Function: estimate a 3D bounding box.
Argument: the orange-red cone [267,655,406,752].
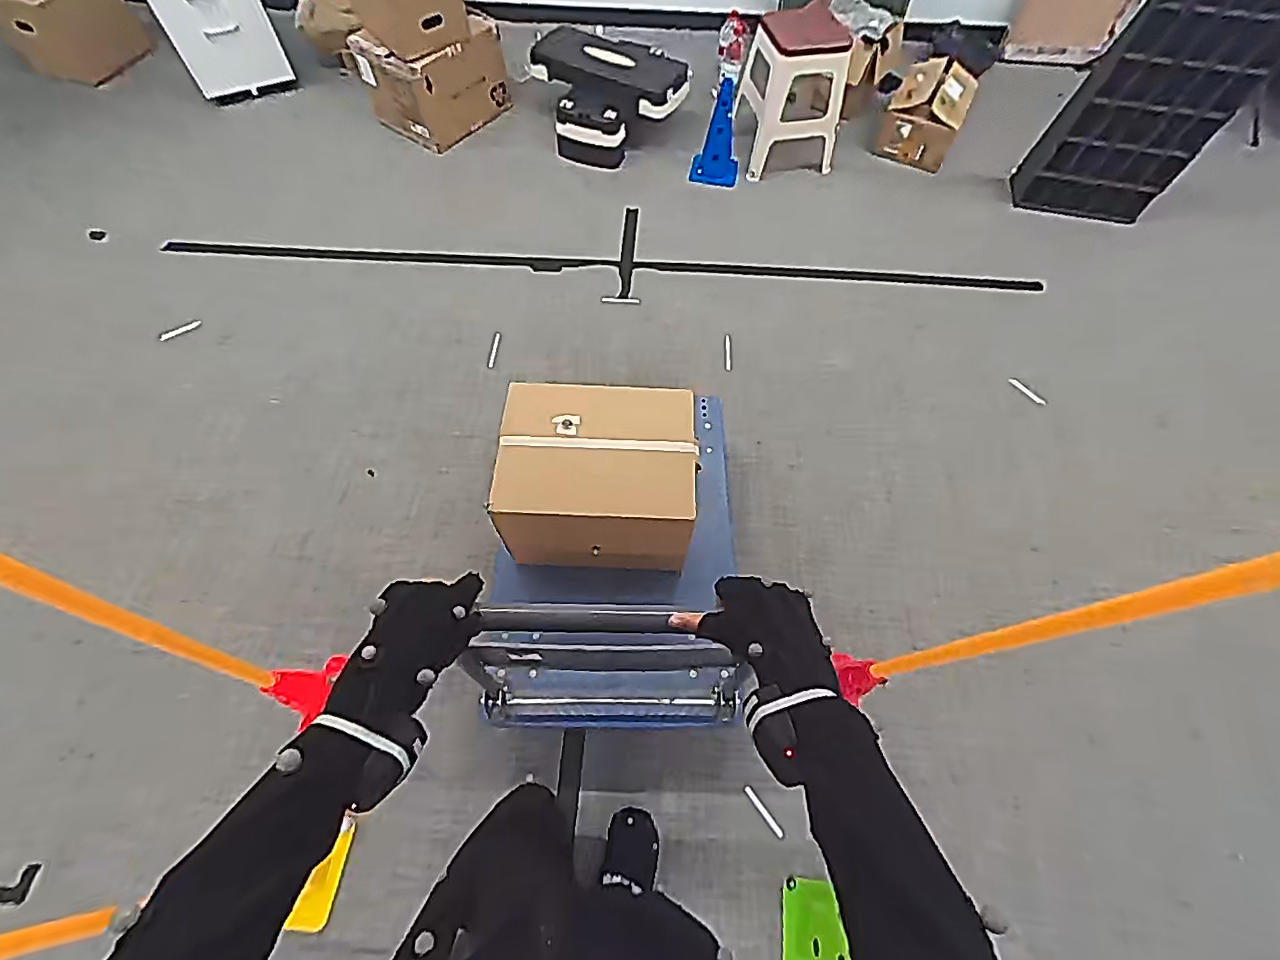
[{"bbox_3d":[-0.686,0.453,1.162,0.198,0.360,0.199,10,60,3],"label":"orange-red cone"}]

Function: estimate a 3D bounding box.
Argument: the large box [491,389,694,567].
[{"bbox_3d":[-0.089,0.007,1.253,0.408,0.320,0.320,2,62,0],"label":"large box"}]

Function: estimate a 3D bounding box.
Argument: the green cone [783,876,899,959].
[{"bbox_3d":[0.401,0.864,0.960,0.202,0.368,0.200,7,61,1],"label":"green cone"}]
